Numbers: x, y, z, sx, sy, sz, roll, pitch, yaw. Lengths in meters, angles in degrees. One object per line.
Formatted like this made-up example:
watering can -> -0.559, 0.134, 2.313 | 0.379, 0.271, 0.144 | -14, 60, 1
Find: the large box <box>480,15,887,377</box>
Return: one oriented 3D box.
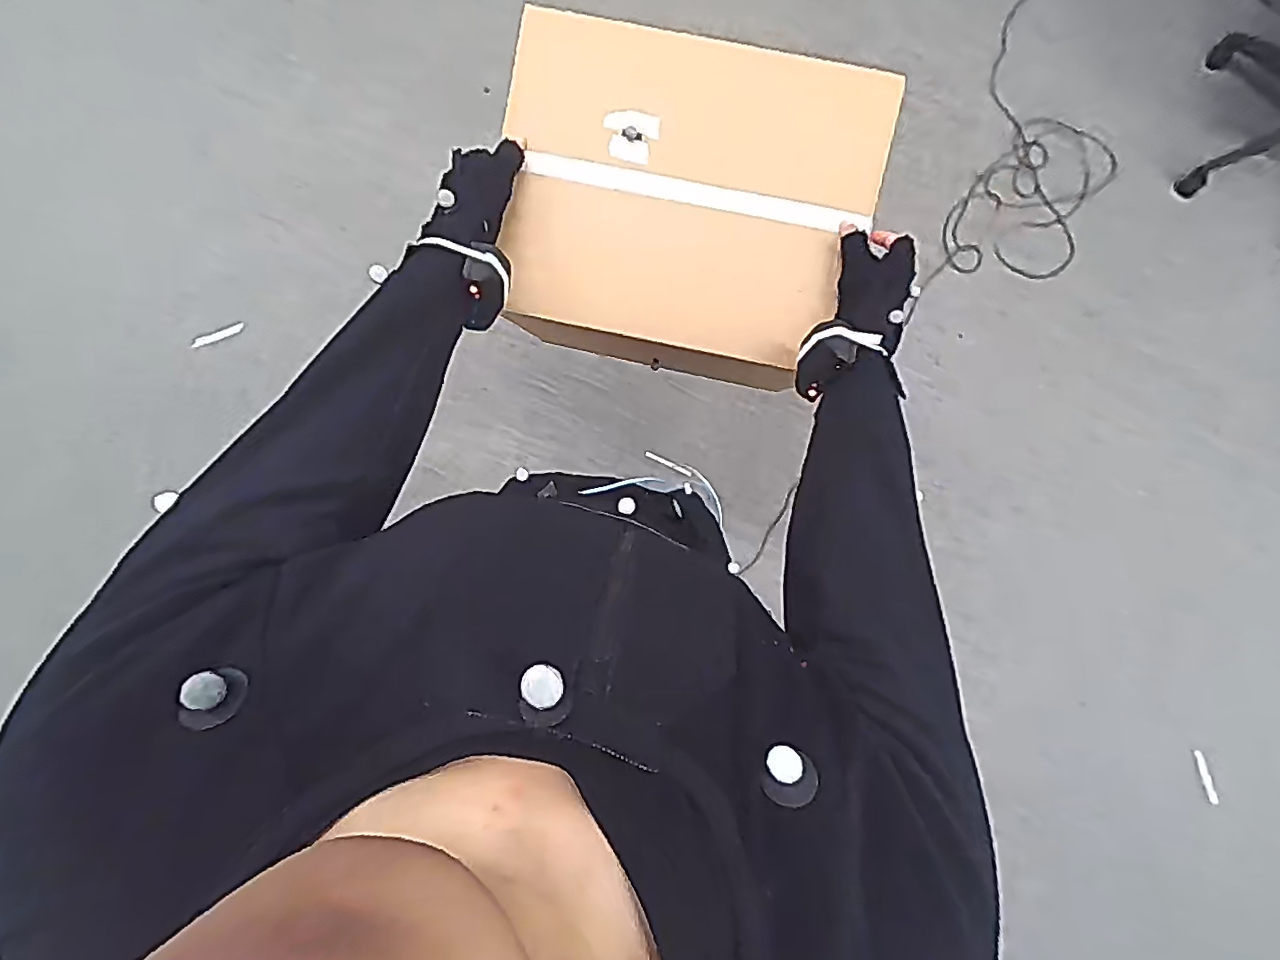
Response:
large box -> 0.048, -0.331, 0.736 | 0.408, 0.320, 0.320 | 12, 97, 2
